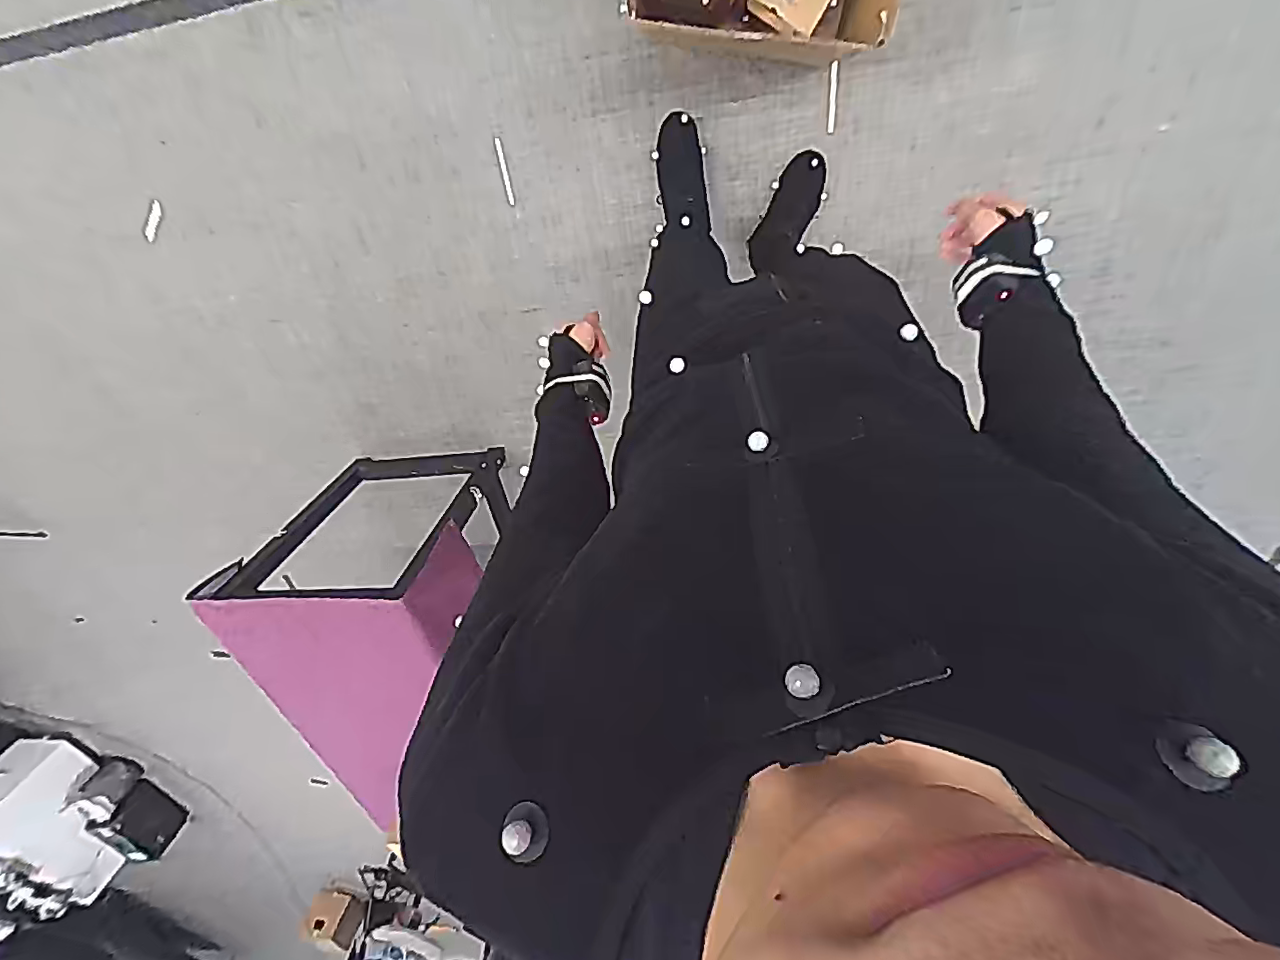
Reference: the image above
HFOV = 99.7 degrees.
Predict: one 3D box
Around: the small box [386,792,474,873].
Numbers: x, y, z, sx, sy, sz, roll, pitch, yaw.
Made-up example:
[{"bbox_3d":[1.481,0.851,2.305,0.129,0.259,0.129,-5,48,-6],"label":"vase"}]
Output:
[{"bbox_3d":[-0.664,1.123,1.730,0.179,0.176,0.168,-7,123,13],"label":"small box"}]
